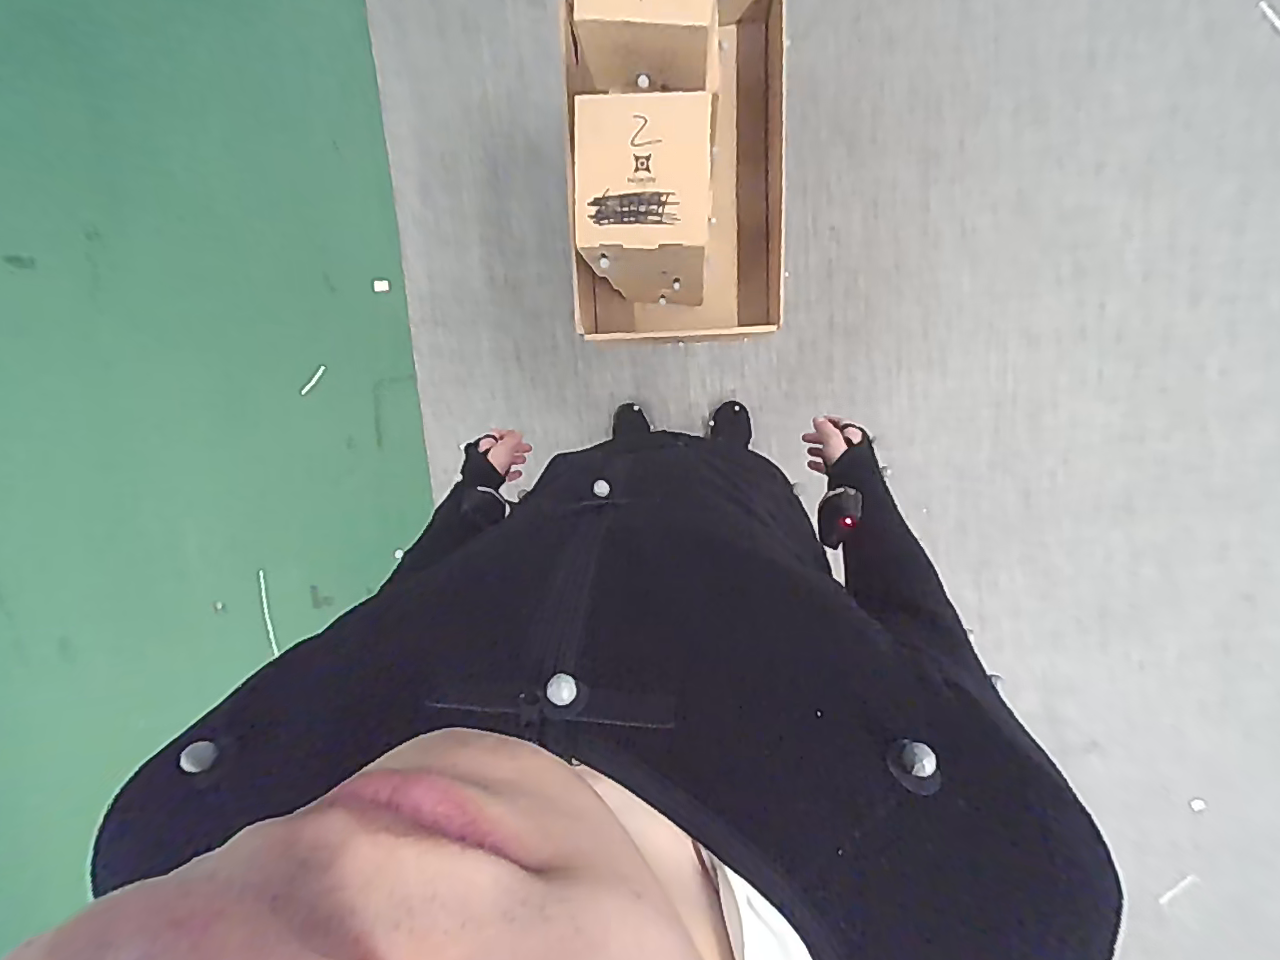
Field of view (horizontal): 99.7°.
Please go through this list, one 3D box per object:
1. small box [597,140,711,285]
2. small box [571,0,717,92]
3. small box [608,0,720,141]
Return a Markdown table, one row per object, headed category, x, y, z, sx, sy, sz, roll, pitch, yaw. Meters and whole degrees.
| category | x | y | z | sx | sy | sz | roll | pitch | yaw |
| --- | --- | --- | --- | --- | --- | --- | --- | --- | --- |
| small box | 0.028 | -0.426 | 0.888 | 0.168 | 0.176 | 0.179 | 4 | 98 | 5 |
| small box | 0.016 | -0.641 | 0.691 | 0.168 | 0.176 | 0.179 | 7 | 102 | 4 |
| small box | 0.036 | -0.667 | 0.852 | 0.168 | 0.176 | 0.179 | -2 | 101 | 6 |
